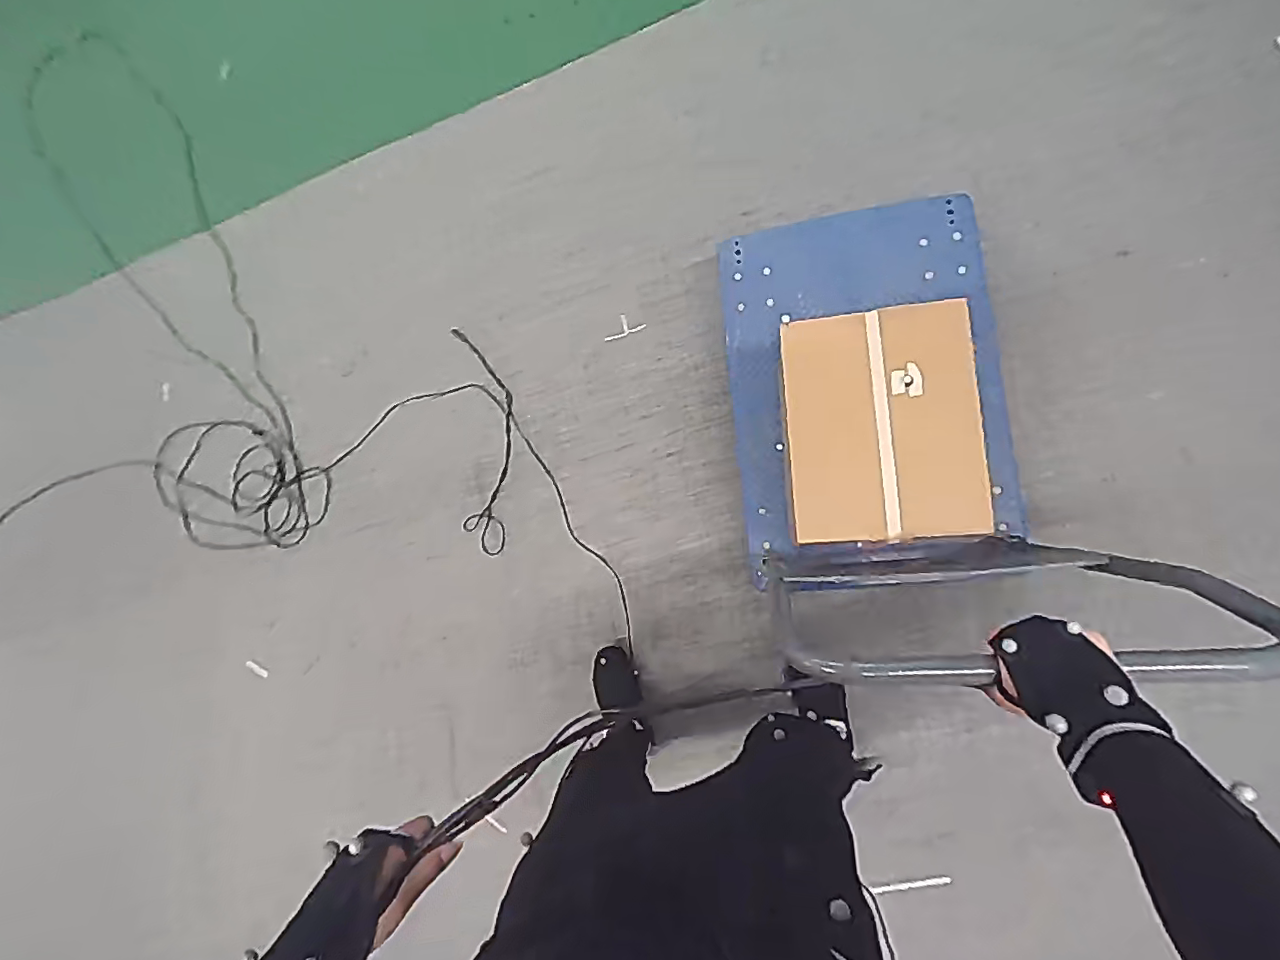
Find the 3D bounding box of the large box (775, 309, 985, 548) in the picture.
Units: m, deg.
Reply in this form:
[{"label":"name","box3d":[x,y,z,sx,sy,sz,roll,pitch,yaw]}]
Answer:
[{"label":"large box","box3d":[0.442,-0.072,1.083,0.320,0.320,0.408,-3,83,12]}]
